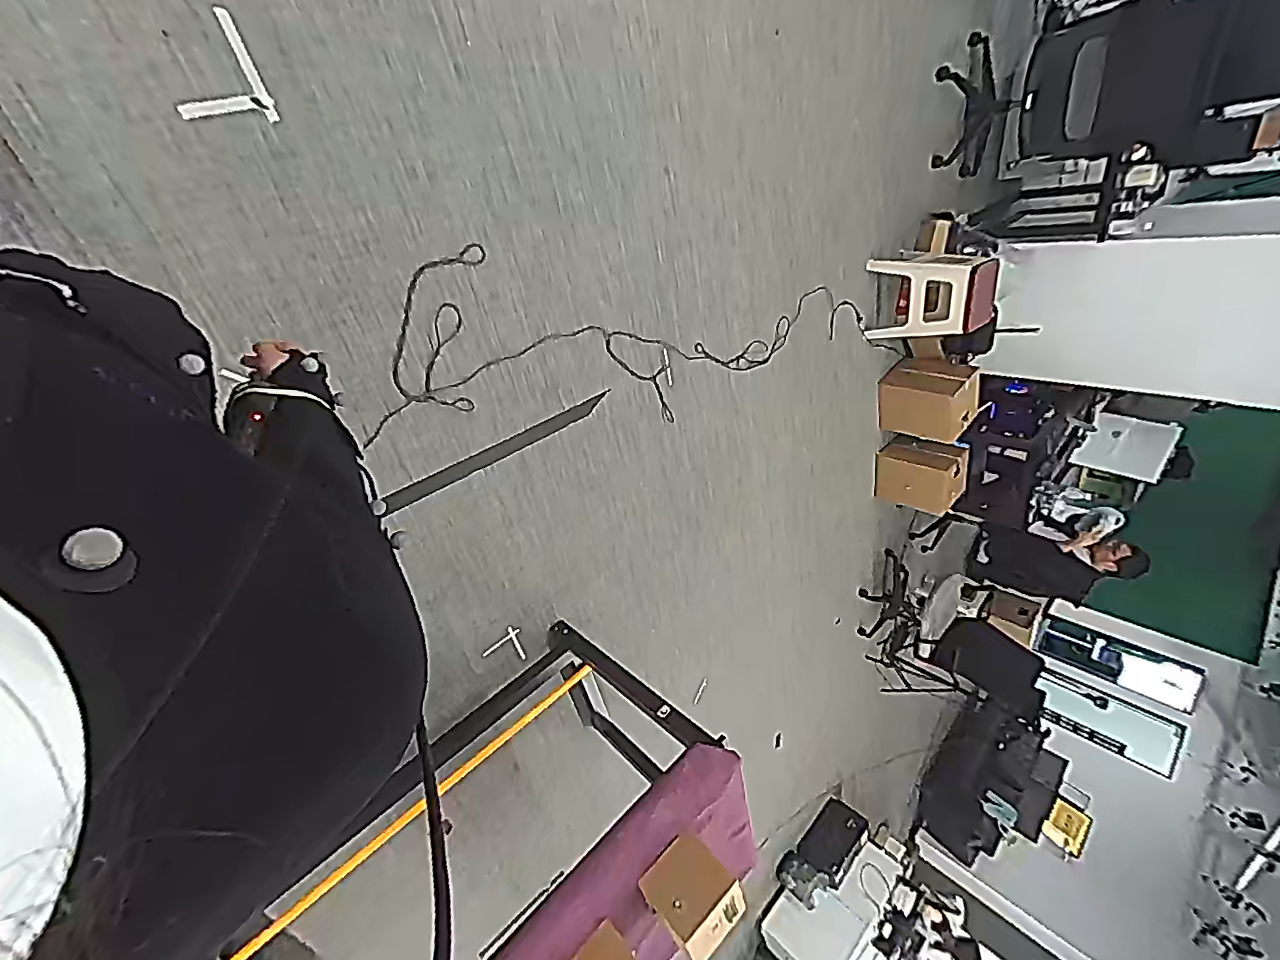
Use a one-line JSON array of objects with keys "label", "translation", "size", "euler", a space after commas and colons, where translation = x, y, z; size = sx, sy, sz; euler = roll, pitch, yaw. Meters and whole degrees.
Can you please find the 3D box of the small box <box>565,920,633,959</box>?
[{"label": "small box", "translation": [-0.083, 1.124, 1.168], "size": [0.179, 0.176, 0.168], "euler": [-33, 126, -31]}]
